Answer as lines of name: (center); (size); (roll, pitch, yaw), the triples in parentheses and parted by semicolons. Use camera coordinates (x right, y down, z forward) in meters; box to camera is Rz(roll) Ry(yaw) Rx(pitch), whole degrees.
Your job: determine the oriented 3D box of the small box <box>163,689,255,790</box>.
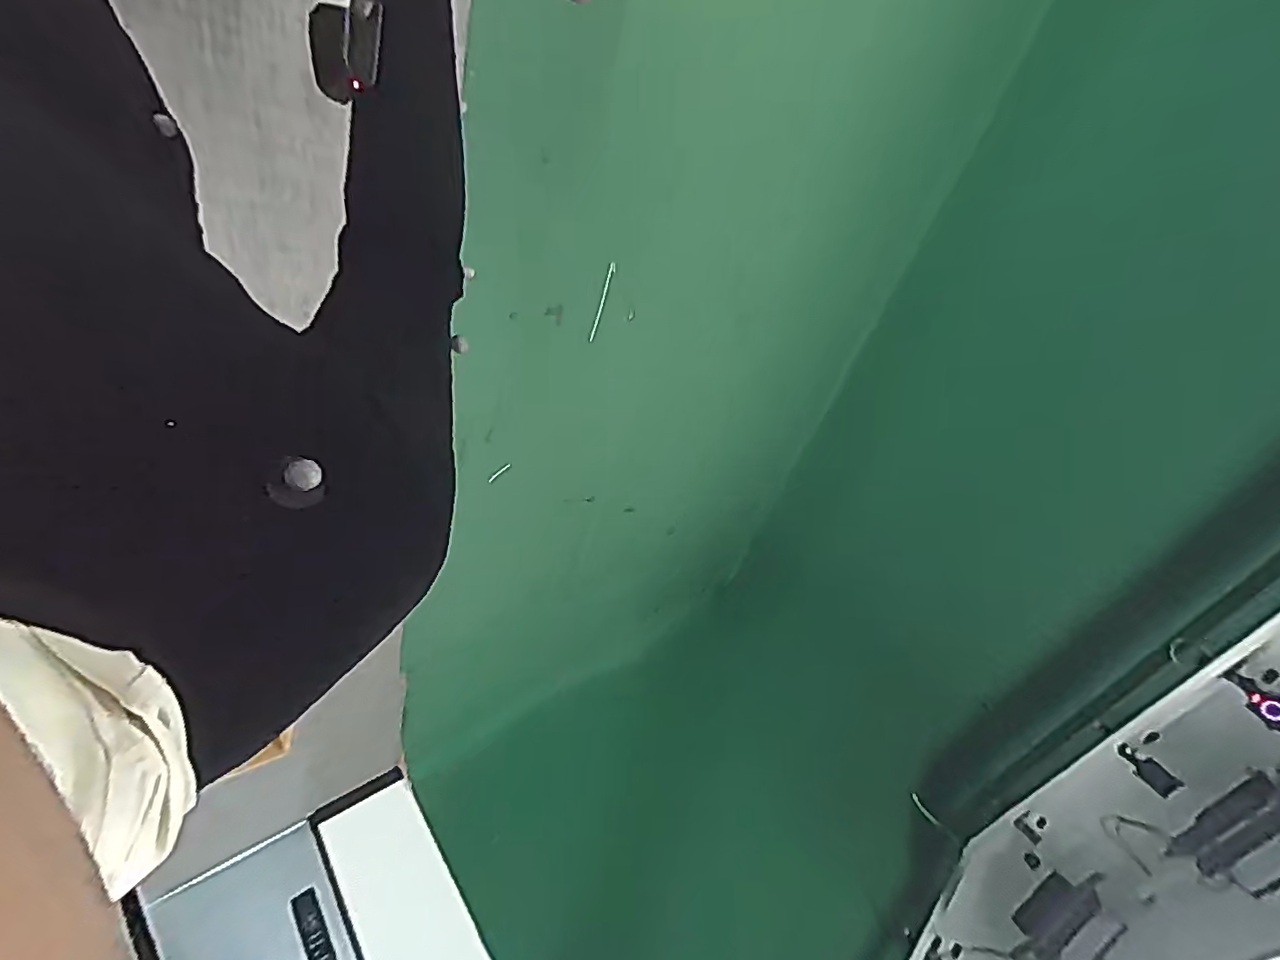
small box: (-1.248, 0.741, 1.564); (0.179, 0.176, 0.168); (-7, 131, -49)
